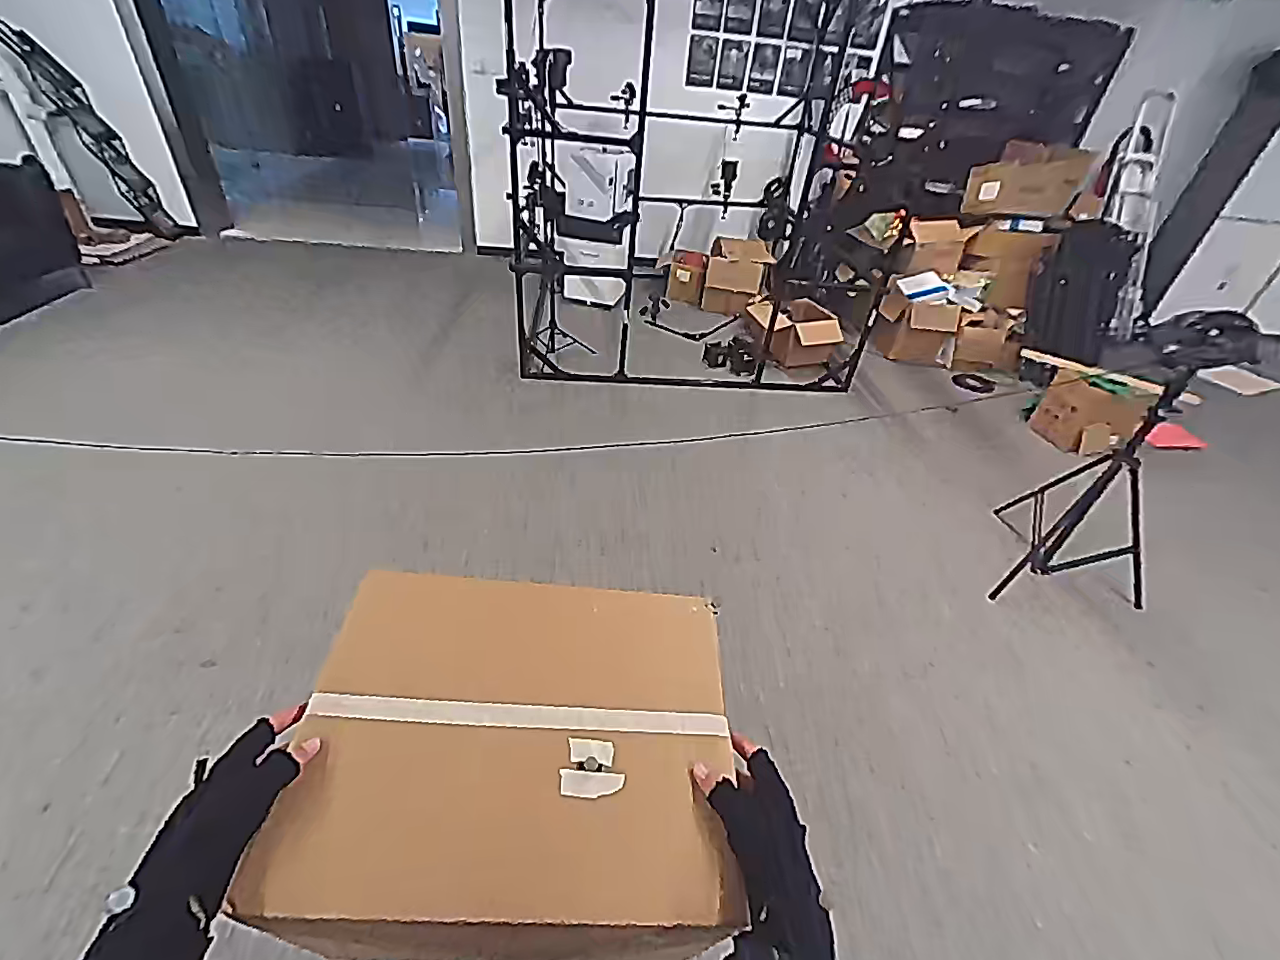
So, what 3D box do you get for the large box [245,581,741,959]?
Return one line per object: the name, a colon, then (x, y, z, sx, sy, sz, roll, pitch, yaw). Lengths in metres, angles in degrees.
large box: (-0.134, 0.348, 0.641, 0.408, 0.320, 0.320, 6, 44, -6)
